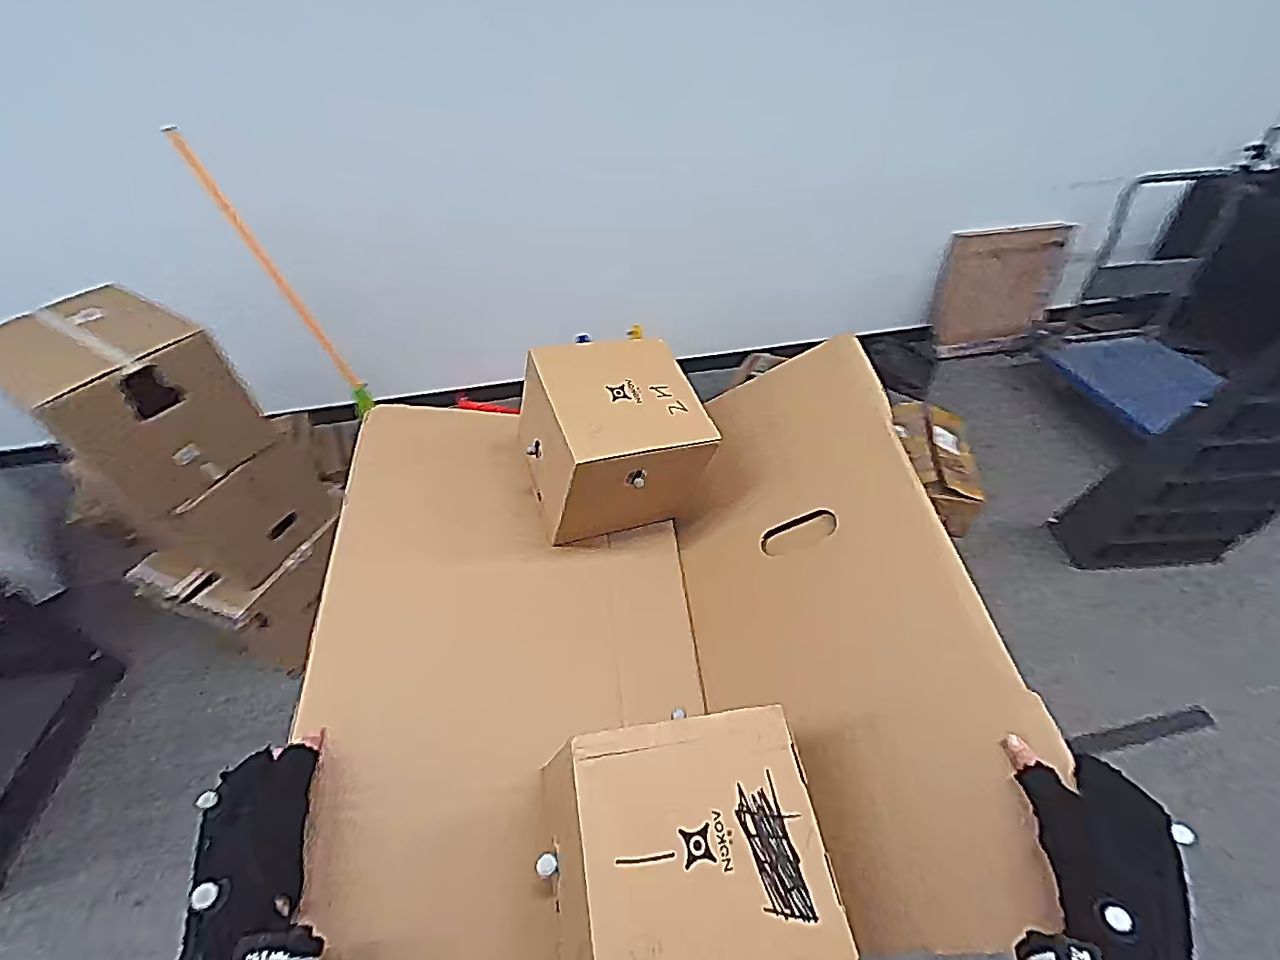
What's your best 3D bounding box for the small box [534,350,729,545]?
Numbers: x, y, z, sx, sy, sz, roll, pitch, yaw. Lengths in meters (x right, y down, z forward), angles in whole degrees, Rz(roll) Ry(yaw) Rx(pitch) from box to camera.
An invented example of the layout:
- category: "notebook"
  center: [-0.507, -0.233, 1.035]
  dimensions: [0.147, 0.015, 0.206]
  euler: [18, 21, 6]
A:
- category: "small box"
  center: [-0.026, -0.037, 0.661]
  dimensions: [0.179, 0.176, 0.168]
  euler: [-9, 59, -25]
